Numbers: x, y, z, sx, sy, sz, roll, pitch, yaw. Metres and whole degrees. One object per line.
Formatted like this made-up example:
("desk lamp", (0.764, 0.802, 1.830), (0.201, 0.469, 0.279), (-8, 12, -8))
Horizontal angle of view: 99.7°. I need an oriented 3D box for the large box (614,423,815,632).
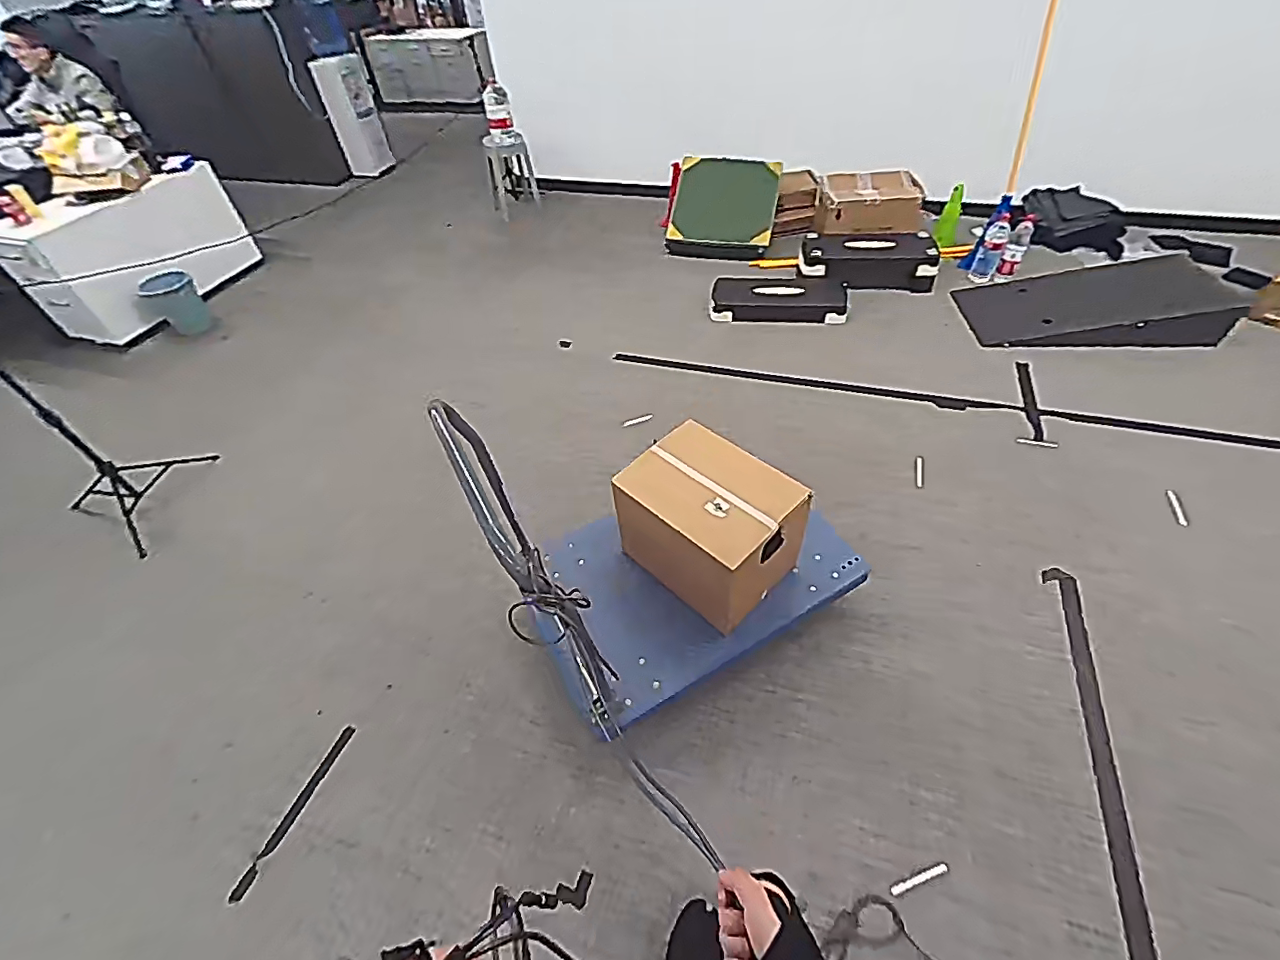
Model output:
("large box", (0.184, 0.119, 1.445), (0.320, 0.320, 0.408), (-38, 56, -25))
